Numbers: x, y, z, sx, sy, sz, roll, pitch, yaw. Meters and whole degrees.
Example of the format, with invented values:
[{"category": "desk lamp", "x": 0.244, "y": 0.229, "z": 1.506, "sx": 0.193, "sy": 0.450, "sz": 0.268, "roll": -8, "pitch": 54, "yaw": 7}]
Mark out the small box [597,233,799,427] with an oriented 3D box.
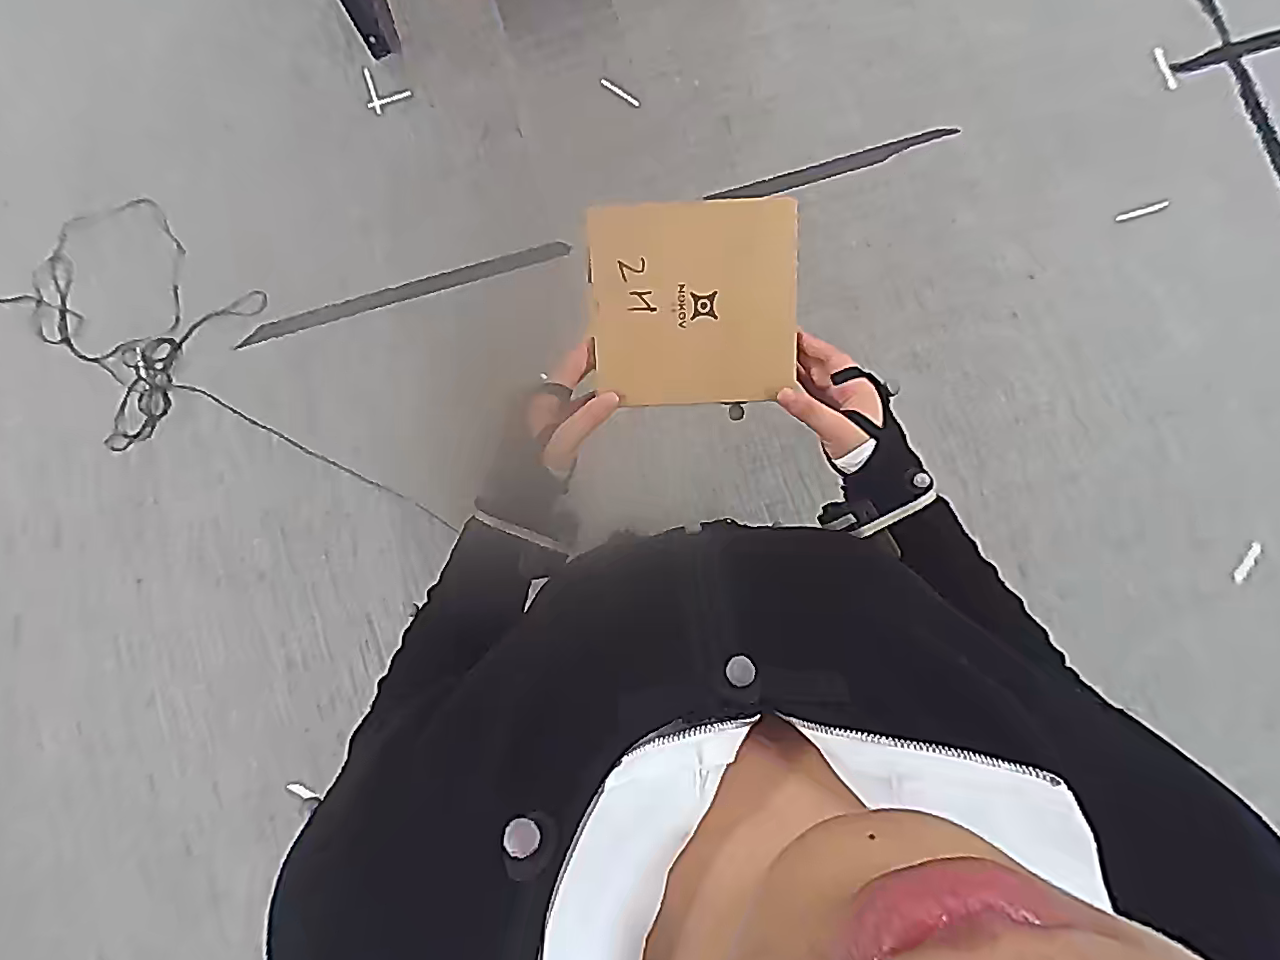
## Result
[{"category": "small box", "x": 0.051, "y": -0.143, "z": 0.552, "sx": 0.179, "sy": 0.176, "sz": 0.168, "roll": -2, "pitch": 98, "yaw": 1}]
